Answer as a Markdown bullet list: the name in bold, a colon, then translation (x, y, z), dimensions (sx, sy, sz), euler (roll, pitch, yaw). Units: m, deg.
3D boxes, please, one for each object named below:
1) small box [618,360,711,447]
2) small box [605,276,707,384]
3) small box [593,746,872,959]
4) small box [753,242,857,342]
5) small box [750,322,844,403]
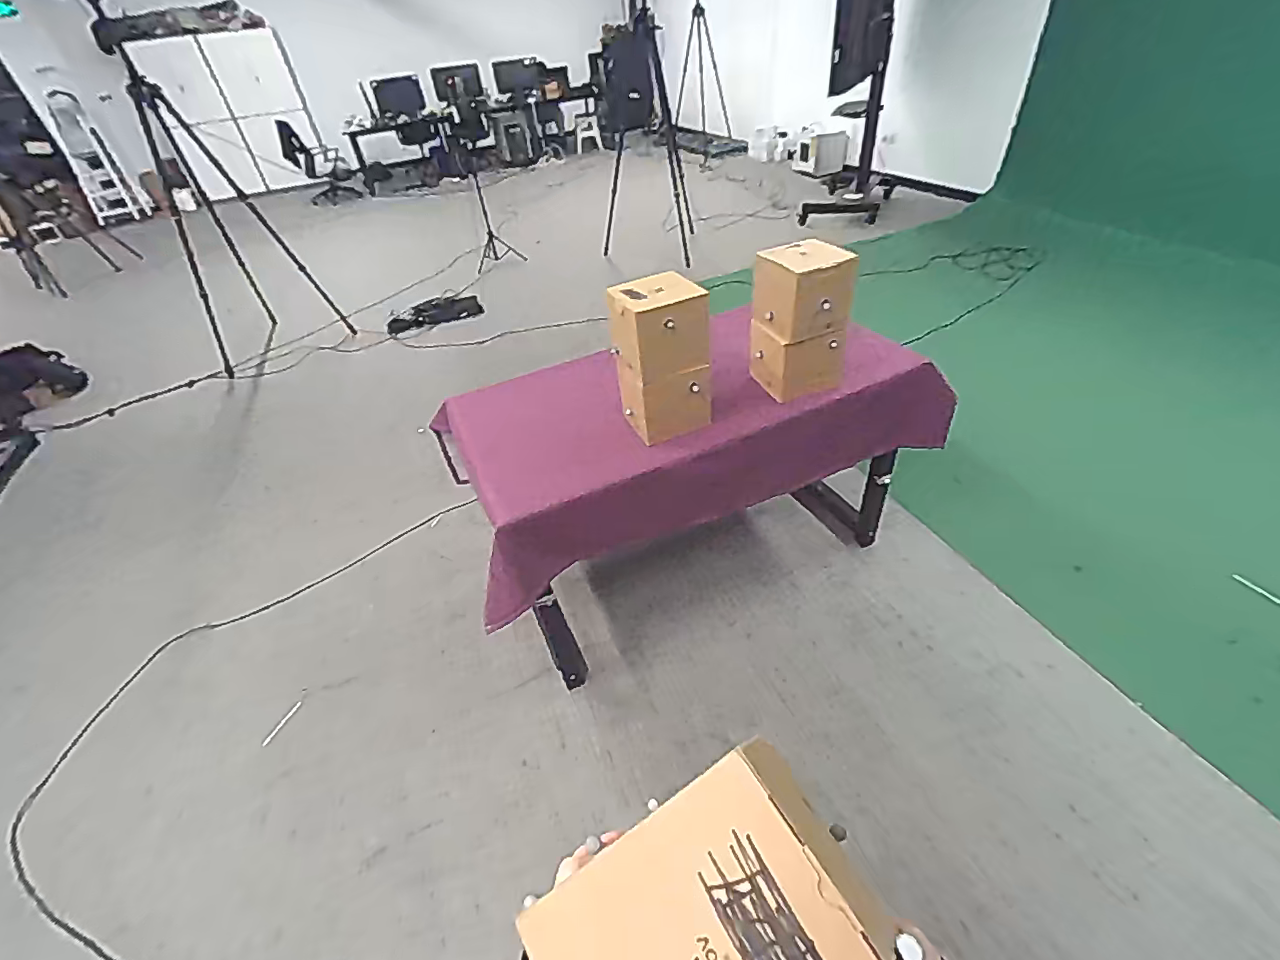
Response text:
- **small box**: translation (0.060, -0.207, 1.319), dimensions (0.179, 0.176, 0.168), euler (-19, 41, -13)
- **small box**: translation (0.041, -0.337, 1.218), dimensions (0.179, 0.176, 0.168), euler (-20, 42, -16)
- **small box**: translation (0.089, 0.376, 0.509), dimensions (0.179, 0.176, 0.168), euler (-34, 62, 0)
- **small box**: translation (0.385, -0.444, 1.293), dimensions (0.168, 0.176, 0.179), euler (-19, 42, -14)
- **small box**: translation (0.399, -0.318, 1.398), dimensions (0.179, 0.176, 0.168), euler (-16, 41, -11)
